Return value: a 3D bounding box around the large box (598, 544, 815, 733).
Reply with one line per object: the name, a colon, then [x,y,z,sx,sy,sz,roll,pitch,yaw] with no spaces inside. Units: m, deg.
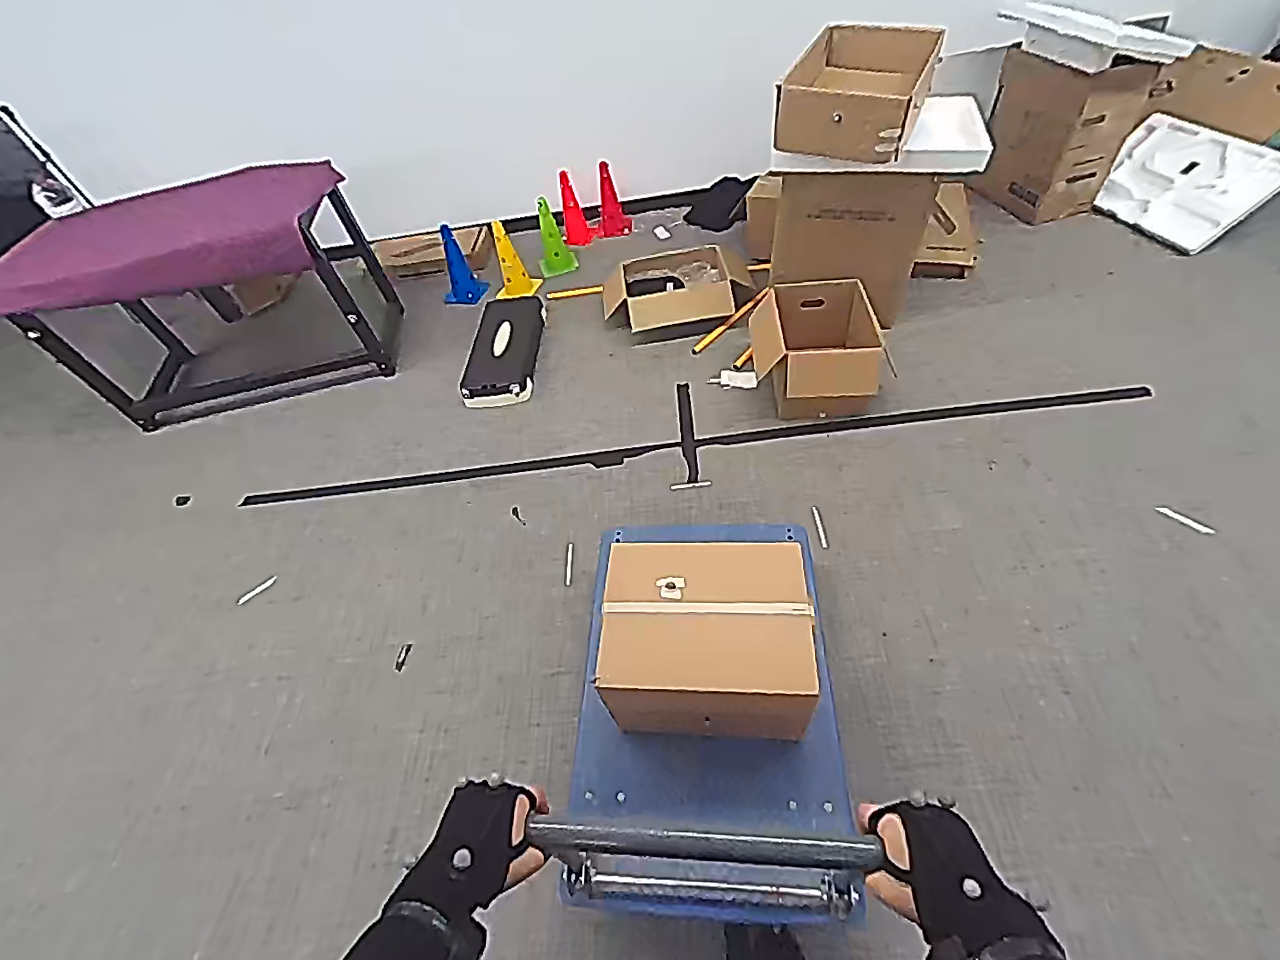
large box: [0.147,0.356,1.192,0.408,0.320,0.320,-2,50,9]
